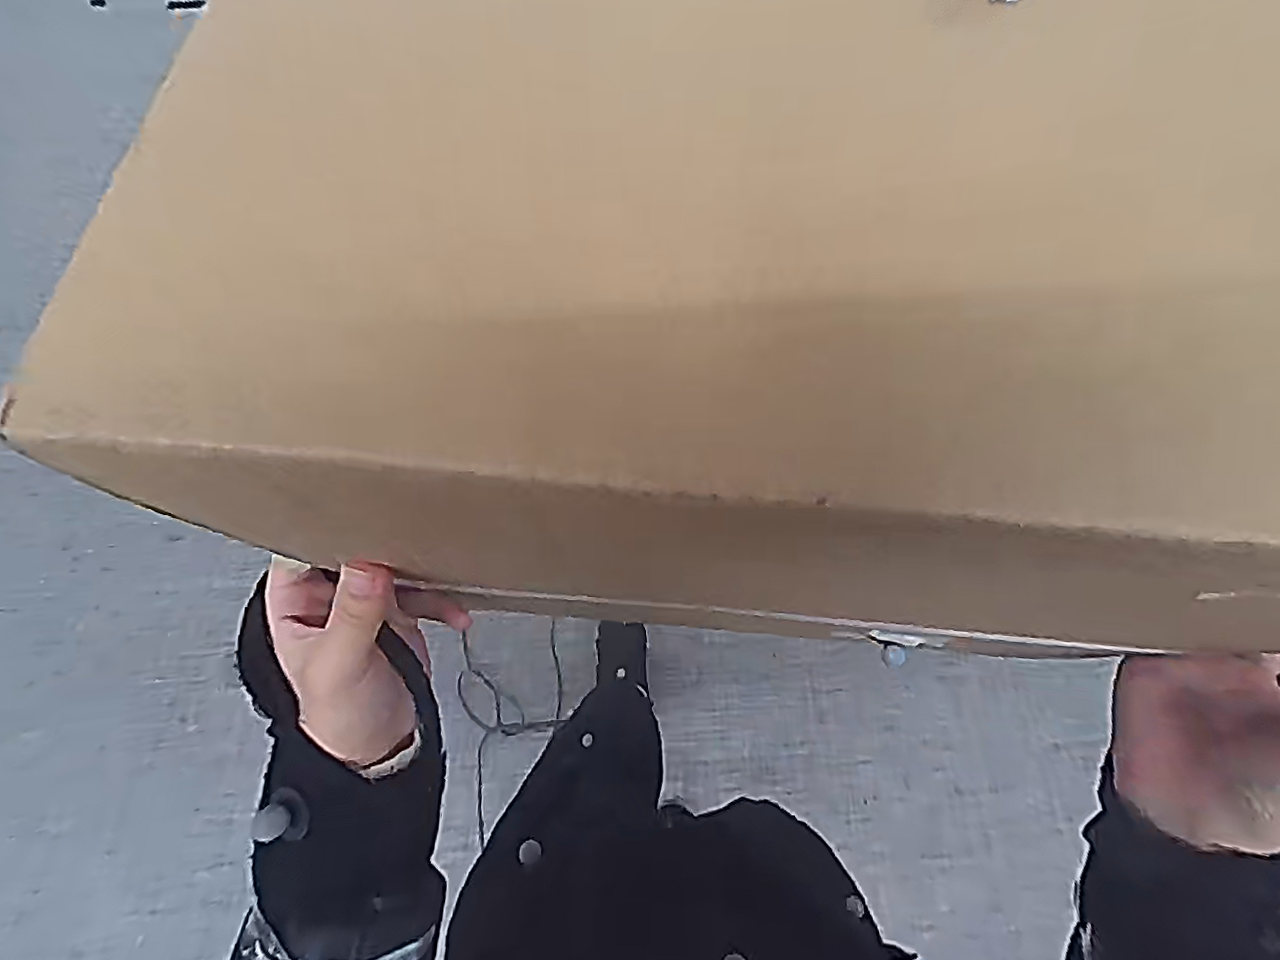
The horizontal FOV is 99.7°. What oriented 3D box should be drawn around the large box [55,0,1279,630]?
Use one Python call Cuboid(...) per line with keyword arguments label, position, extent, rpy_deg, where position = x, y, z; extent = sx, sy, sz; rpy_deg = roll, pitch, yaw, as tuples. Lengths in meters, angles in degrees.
Cuboid(label="large box", position=(0.079, -0.098, 0.298), extent=(0.408, 0.320, 0.320), rpy_deg=(4, 72, -1))
